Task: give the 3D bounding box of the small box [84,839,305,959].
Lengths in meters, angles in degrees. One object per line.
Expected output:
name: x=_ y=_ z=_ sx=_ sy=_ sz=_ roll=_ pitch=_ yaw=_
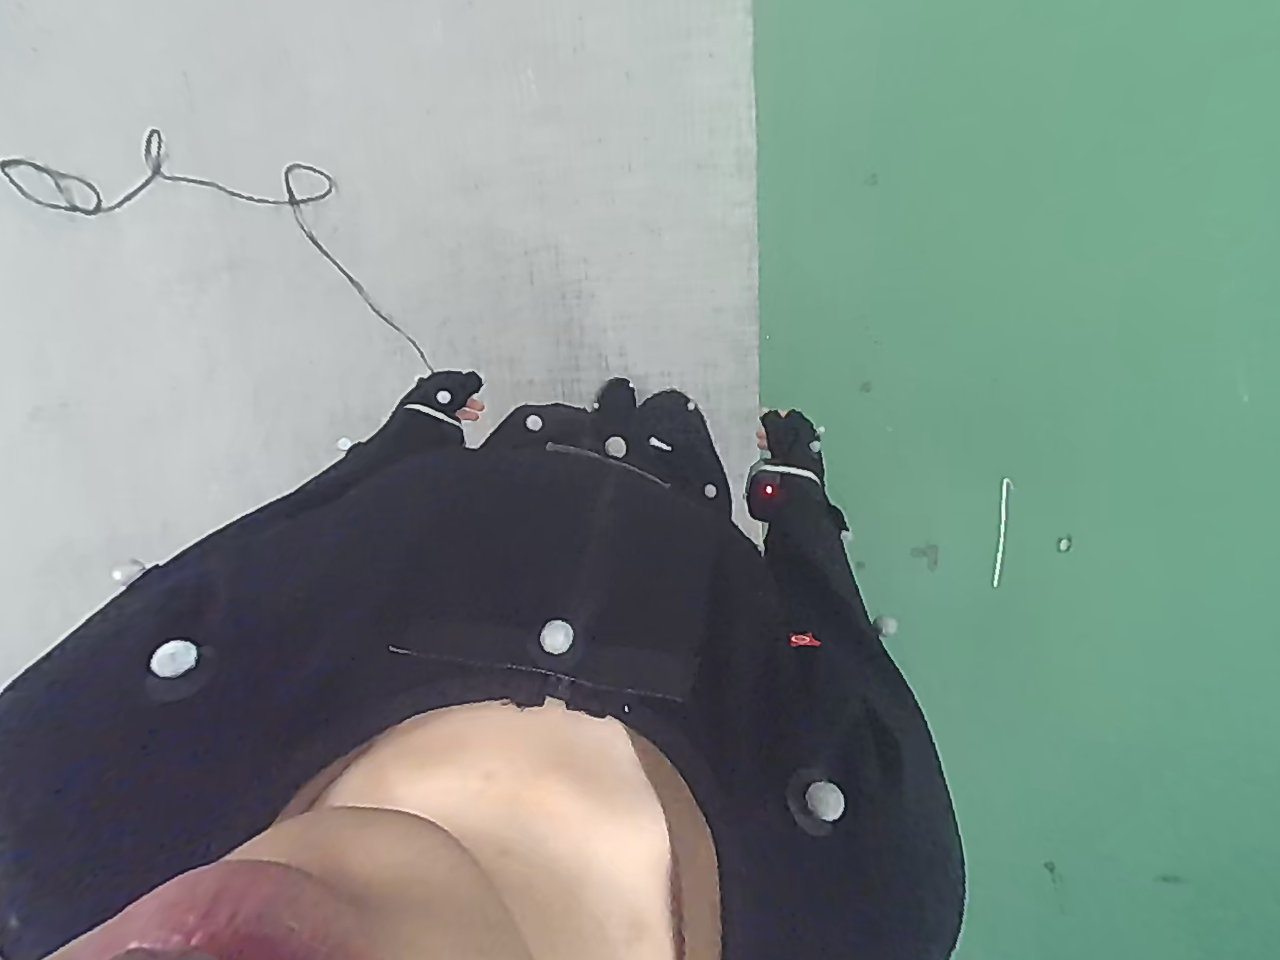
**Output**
small box: x=-0.639 y=0.681 z=0.804 sx=0.168 sy=0.176 sz=0.179 roll=-7 pitch=104 yaw=1
